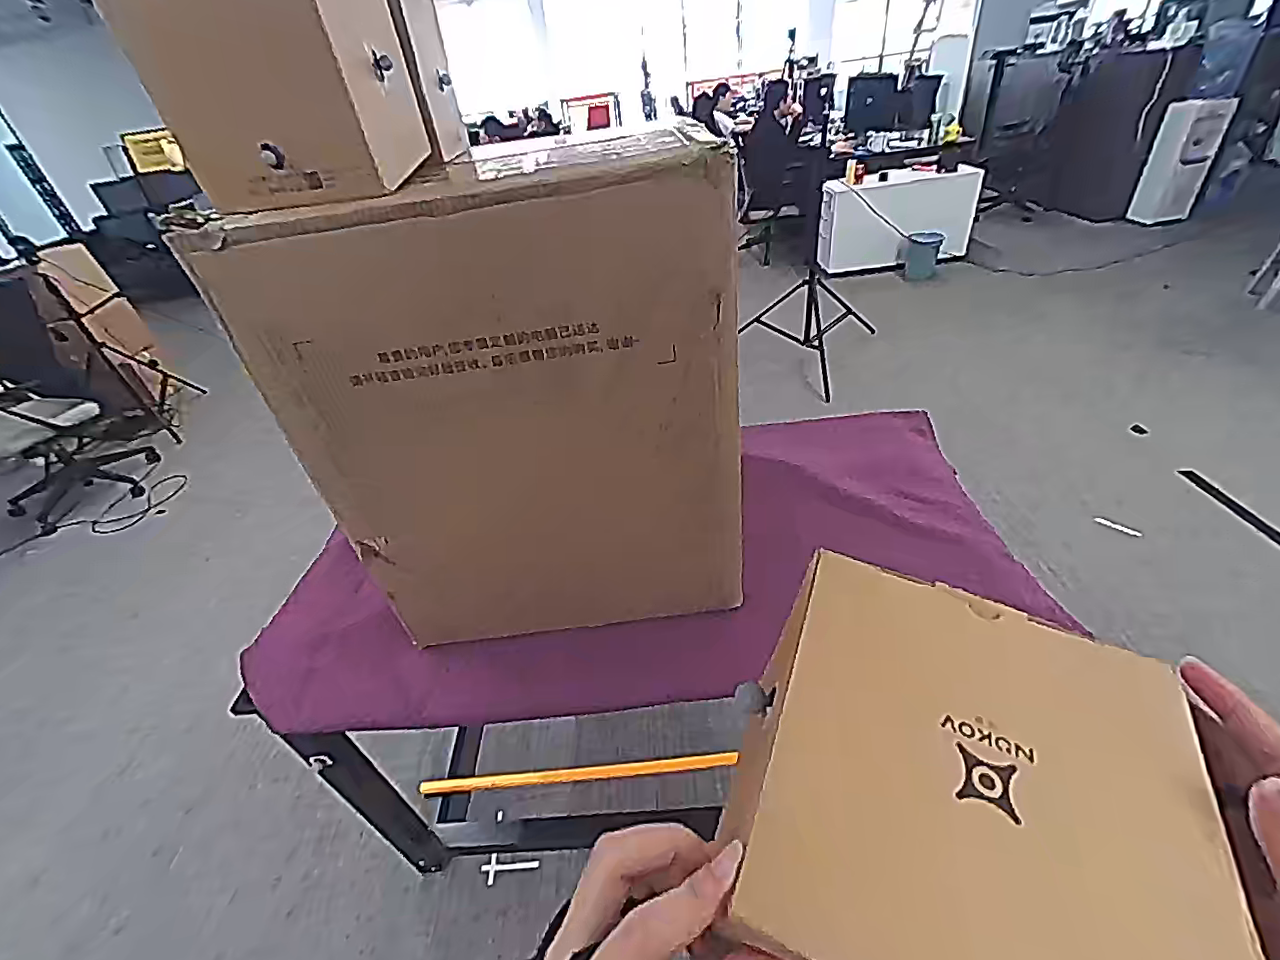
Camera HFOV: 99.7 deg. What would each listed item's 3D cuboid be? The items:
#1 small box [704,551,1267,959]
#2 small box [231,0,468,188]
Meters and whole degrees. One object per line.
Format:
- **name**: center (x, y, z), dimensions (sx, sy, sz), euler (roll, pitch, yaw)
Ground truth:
- **small box**: center (0.136, 0.173, 0.270), dimensions (0.168, 0.176, 0.179), euler (18, 45, 16)
- **small box**: center (-0.327, -0.469, 0.658), dimensions (0.179, 0.176, 0.168), euler (-7, 37, 1)
